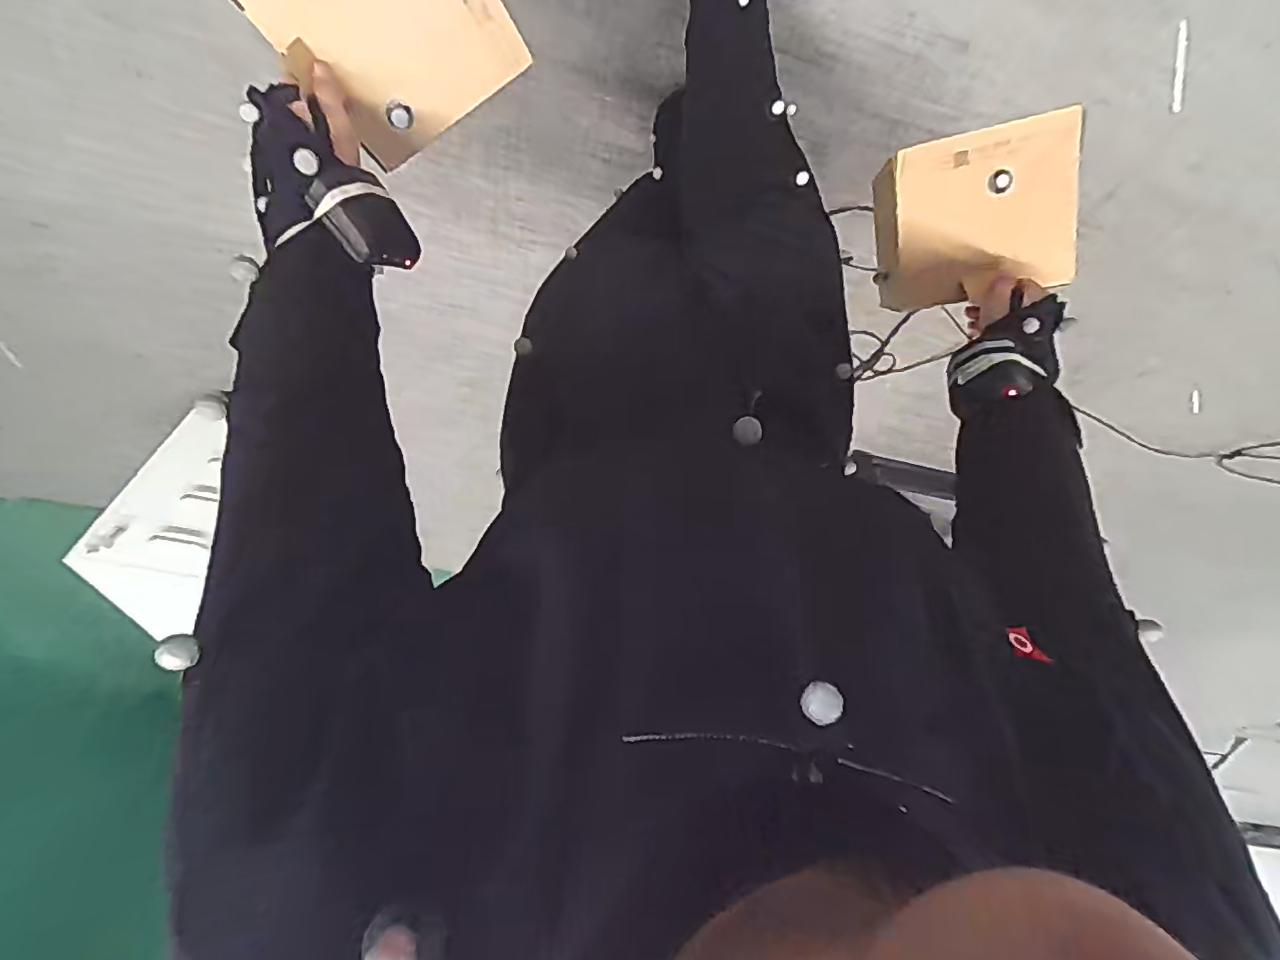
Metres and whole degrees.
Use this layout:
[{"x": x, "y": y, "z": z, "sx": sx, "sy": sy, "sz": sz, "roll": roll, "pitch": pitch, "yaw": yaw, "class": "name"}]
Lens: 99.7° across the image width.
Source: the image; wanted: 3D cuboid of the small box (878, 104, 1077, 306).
[{"x": 0.380, "y": -0.307, "z": 0.633, "sx": 0.168, "sy": 0.179, "sz": 0.176, "roll": -6, "pitch": 107, "yaw": 18, "class": "small box"}]
